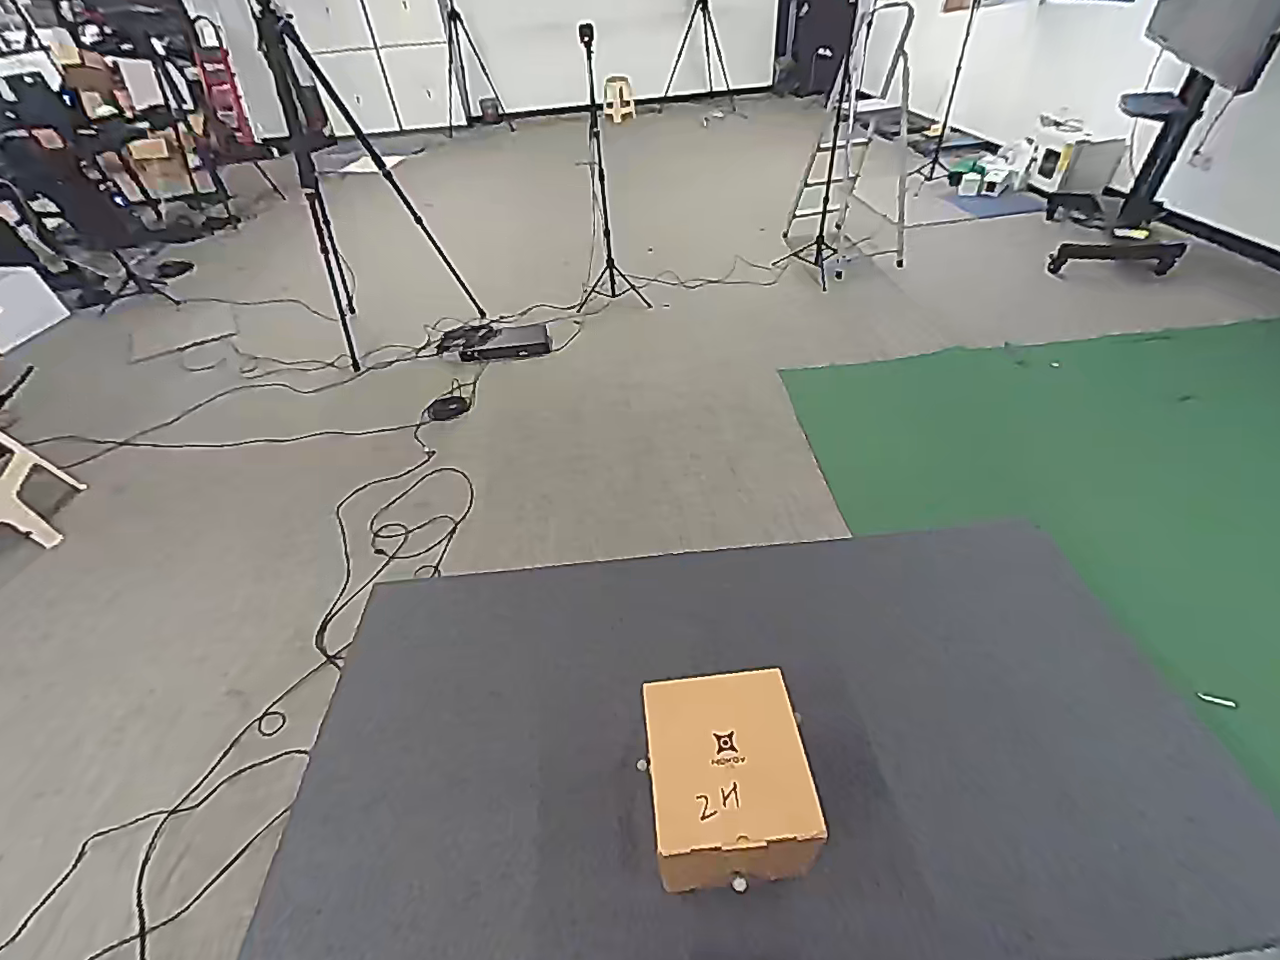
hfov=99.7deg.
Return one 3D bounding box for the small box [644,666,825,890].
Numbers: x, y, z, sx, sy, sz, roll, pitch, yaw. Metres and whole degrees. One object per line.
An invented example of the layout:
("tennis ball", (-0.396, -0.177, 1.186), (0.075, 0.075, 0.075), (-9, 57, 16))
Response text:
("small box", (0.095, 0.345, 0.628), (0.168, 0.176, 0.179), (-7, 42, 0))
